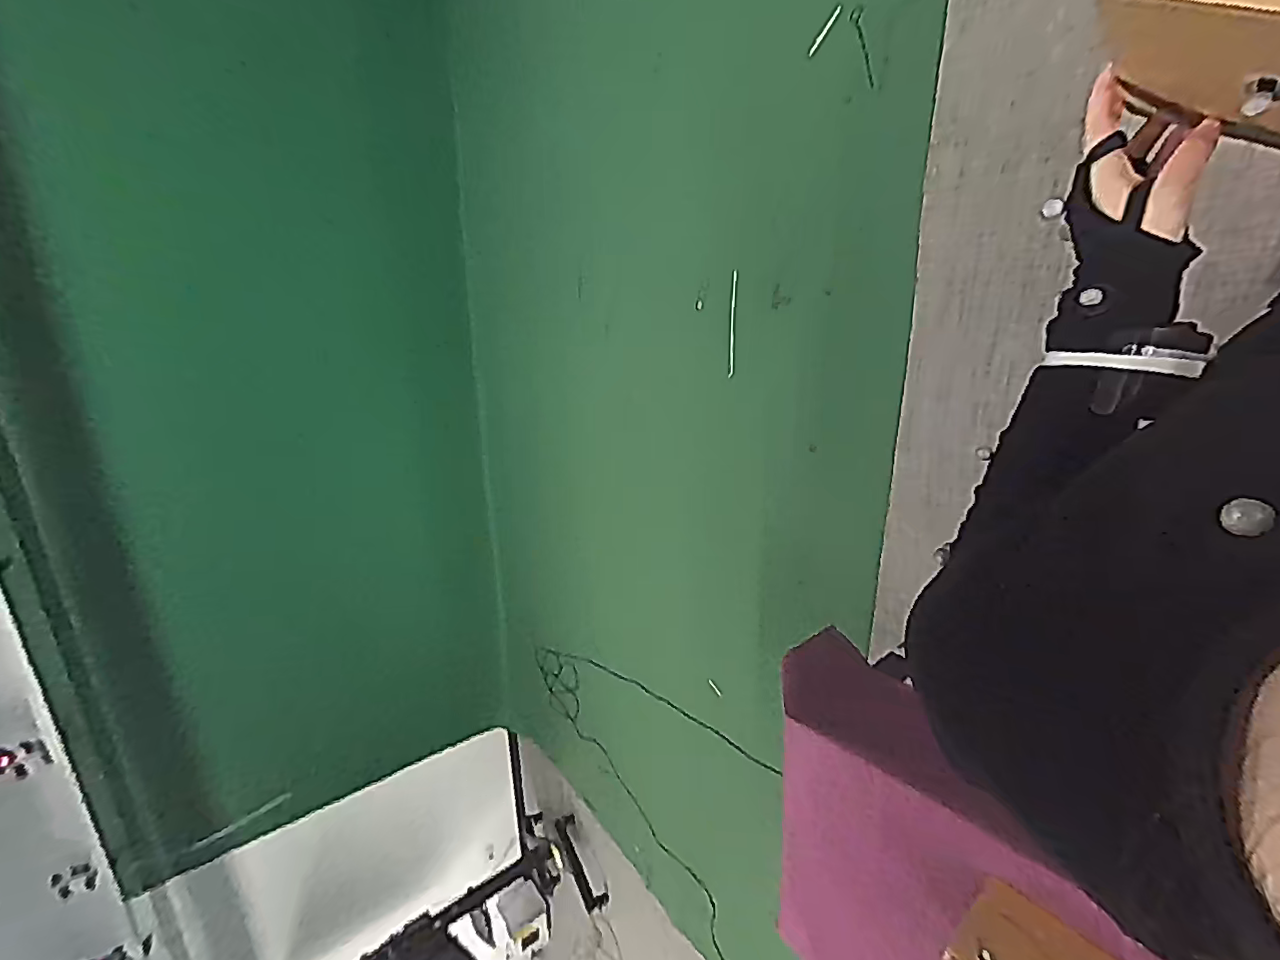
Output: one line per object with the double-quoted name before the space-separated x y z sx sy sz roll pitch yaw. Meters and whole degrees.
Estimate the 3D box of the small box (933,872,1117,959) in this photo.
"small box" 0.530 0.708 0.752 0.179 0.176 0.168 20 116 50
